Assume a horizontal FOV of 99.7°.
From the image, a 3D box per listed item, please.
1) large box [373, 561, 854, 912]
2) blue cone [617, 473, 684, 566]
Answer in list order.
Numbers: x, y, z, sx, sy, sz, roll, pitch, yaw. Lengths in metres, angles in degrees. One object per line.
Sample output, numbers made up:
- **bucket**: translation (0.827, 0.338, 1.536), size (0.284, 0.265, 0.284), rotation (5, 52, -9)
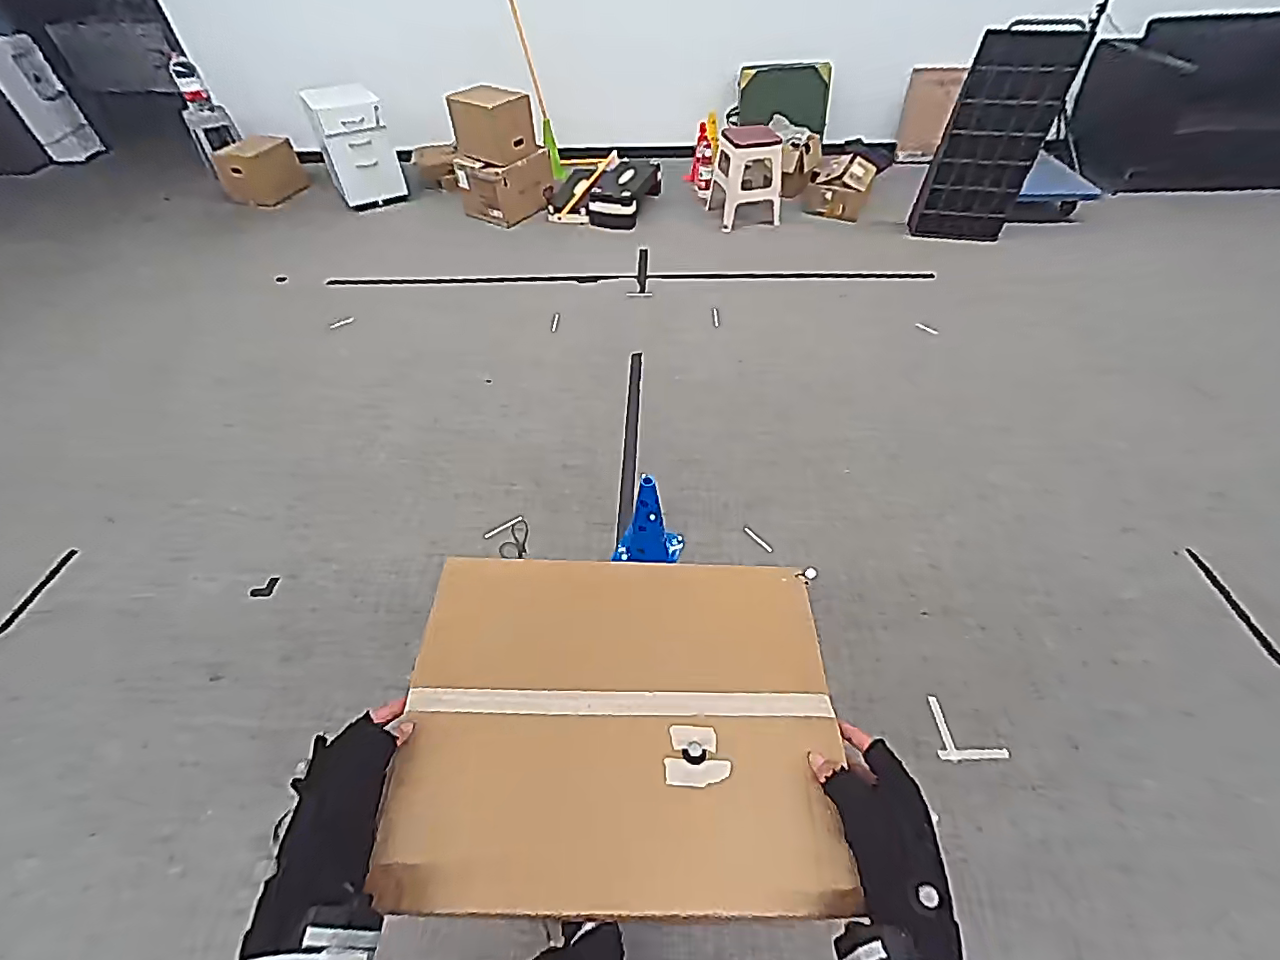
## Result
- **large box**: translation (-0.027, 0.312, 0.647), size (0.408, 0.320, 0.320), rotation (2, 50, -2)
- **blue cone**: translation (0.033, 0.124, 1.666), size (0.193, 0.380, 0.192), rotation (18, 50, 16)
